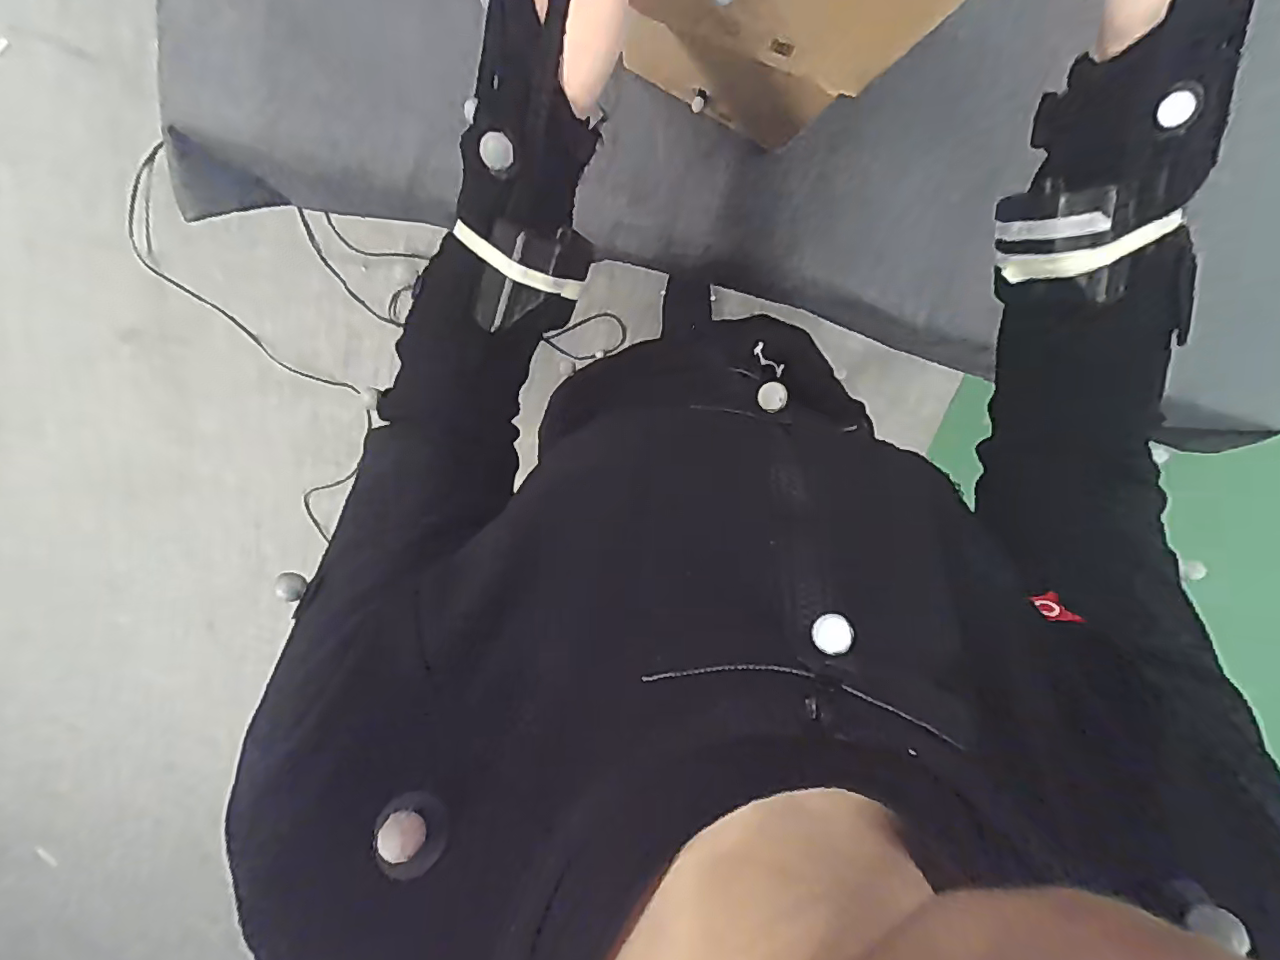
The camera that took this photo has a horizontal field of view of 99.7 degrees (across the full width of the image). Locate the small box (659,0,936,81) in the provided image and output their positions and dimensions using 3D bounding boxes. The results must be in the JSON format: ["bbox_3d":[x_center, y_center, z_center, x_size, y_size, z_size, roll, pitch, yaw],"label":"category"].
[{"bbox_3d":[0.092,-0.328,0.248,0.168,0.176,0.179,17,109,-5],"label":"small box"}]
